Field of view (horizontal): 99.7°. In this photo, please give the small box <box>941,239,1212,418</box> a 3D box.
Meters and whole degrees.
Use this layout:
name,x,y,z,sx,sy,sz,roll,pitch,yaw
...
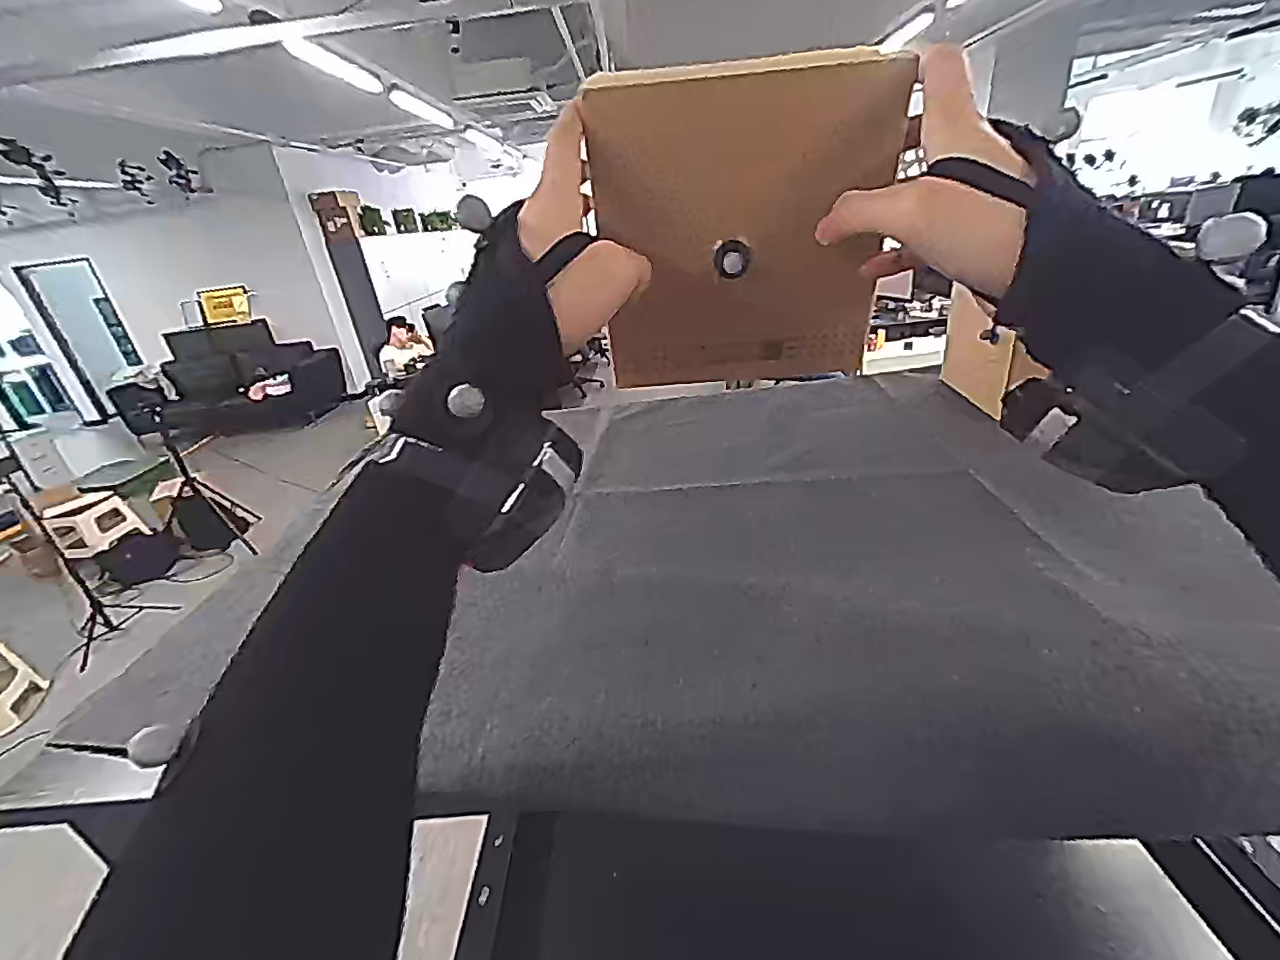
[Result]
name,x,y,z,sx,sy,sz,roll,pitch,yaw
small box,0.473,-0.173,0.623,0.168,0.176,0.179,-3,26,7

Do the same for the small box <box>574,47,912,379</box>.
name,x,y,z,sx,sy,sz,roll,pitch,yaw
small box,0.056,-0.178,0.371,0.168,0.176,0.179,-4,38,3
